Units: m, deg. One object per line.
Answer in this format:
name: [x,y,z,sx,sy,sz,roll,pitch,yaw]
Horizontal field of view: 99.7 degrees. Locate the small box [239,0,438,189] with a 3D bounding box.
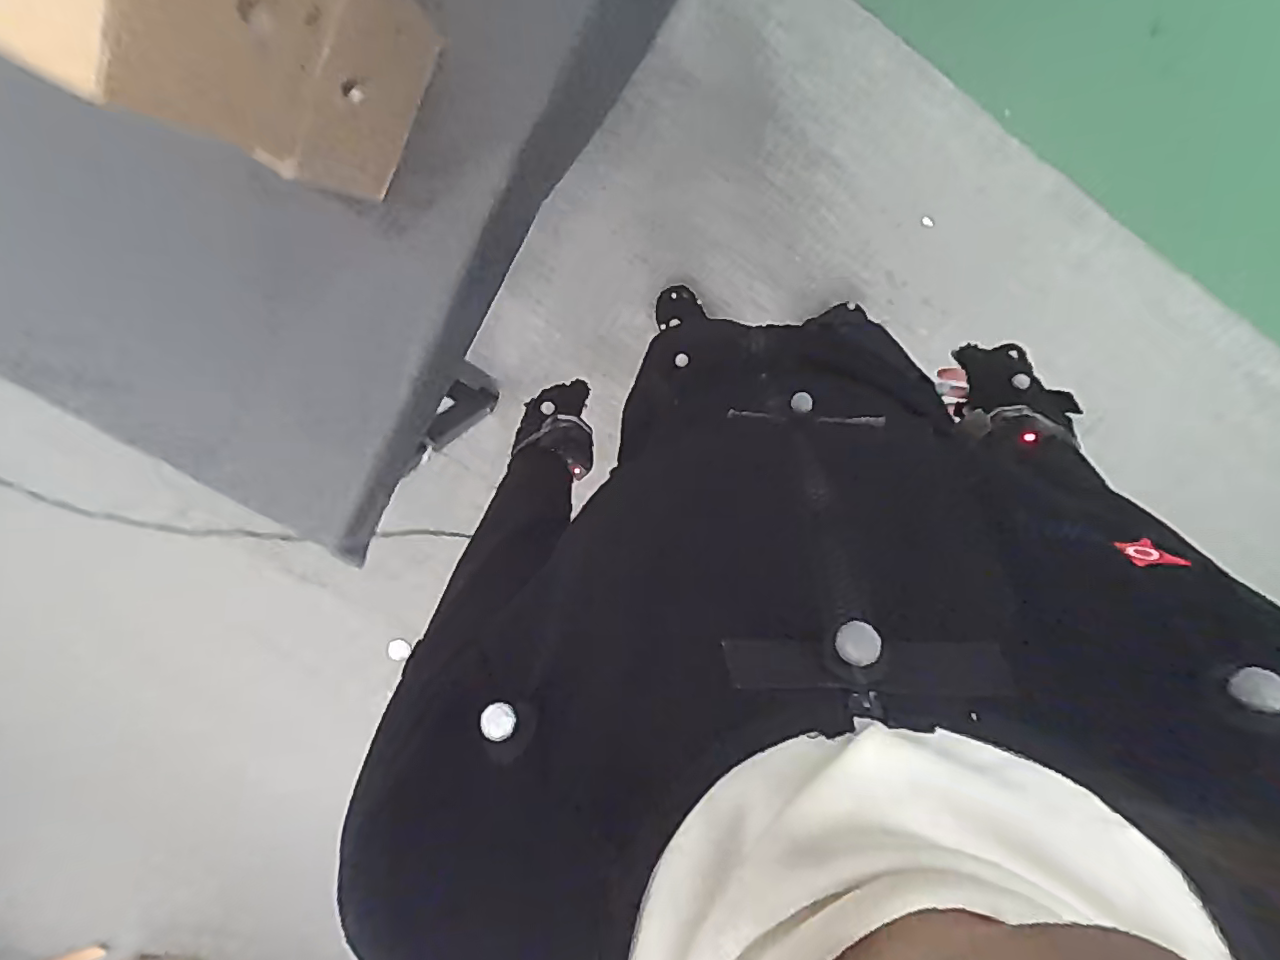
small box: [-0.313,-0.399,0.495,0.168,0.176,0.179,29,108,-8]

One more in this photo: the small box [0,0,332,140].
small box: [-0.326,-0.347,0.340,0.179,0.176,0.168,27,109,-8]
